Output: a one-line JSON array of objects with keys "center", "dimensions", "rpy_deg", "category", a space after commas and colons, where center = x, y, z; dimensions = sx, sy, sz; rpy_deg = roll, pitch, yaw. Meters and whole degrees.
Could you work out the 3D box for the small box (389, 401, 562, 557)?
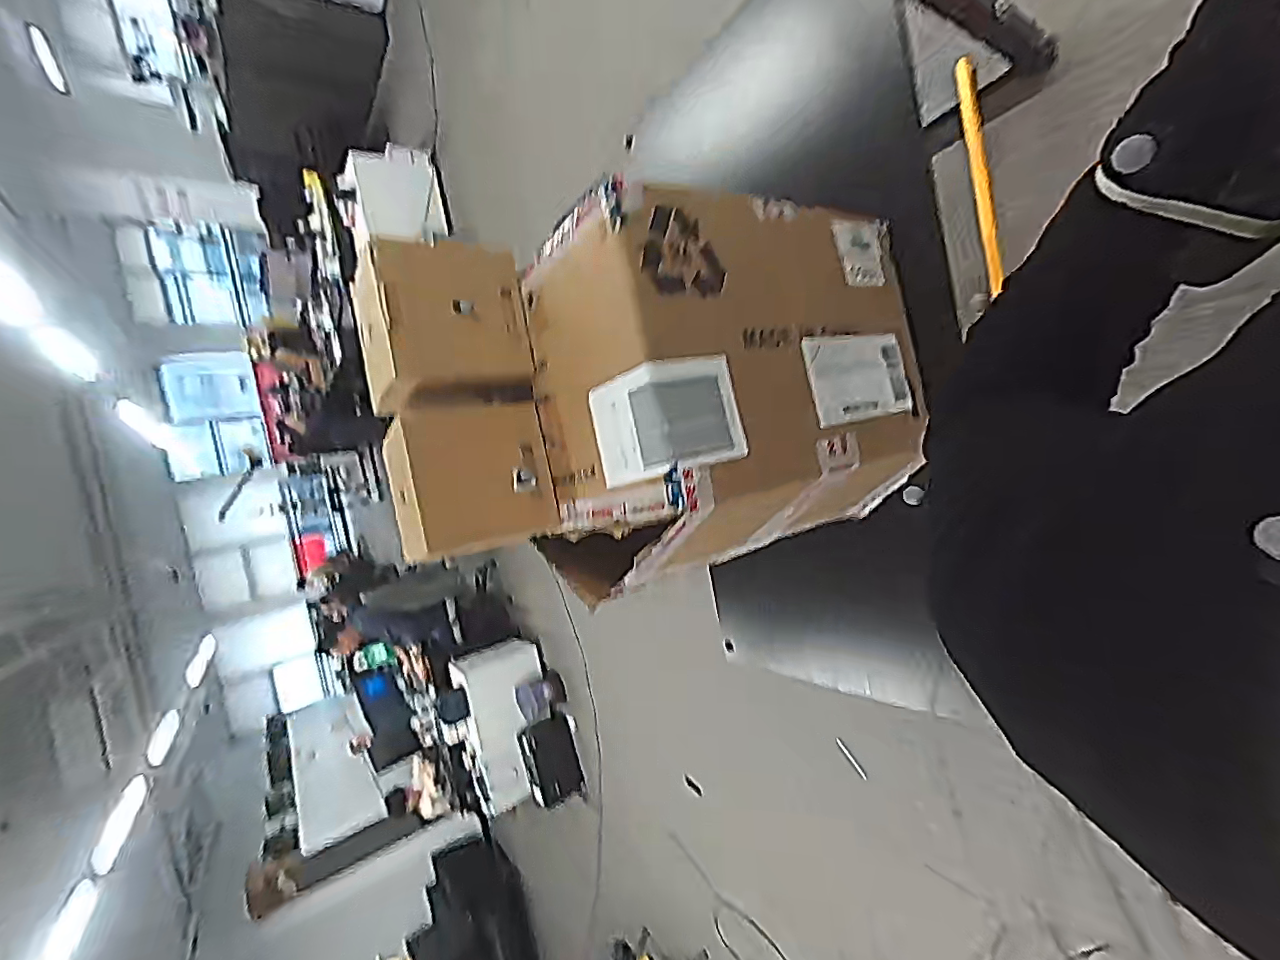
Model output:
[{"center": [-0.223, 0.001, 0.725], "dimensions": [0.179, 0.176, 0.168], "rpy_deg": [-21, 83, 57], "category": "small box"}]
